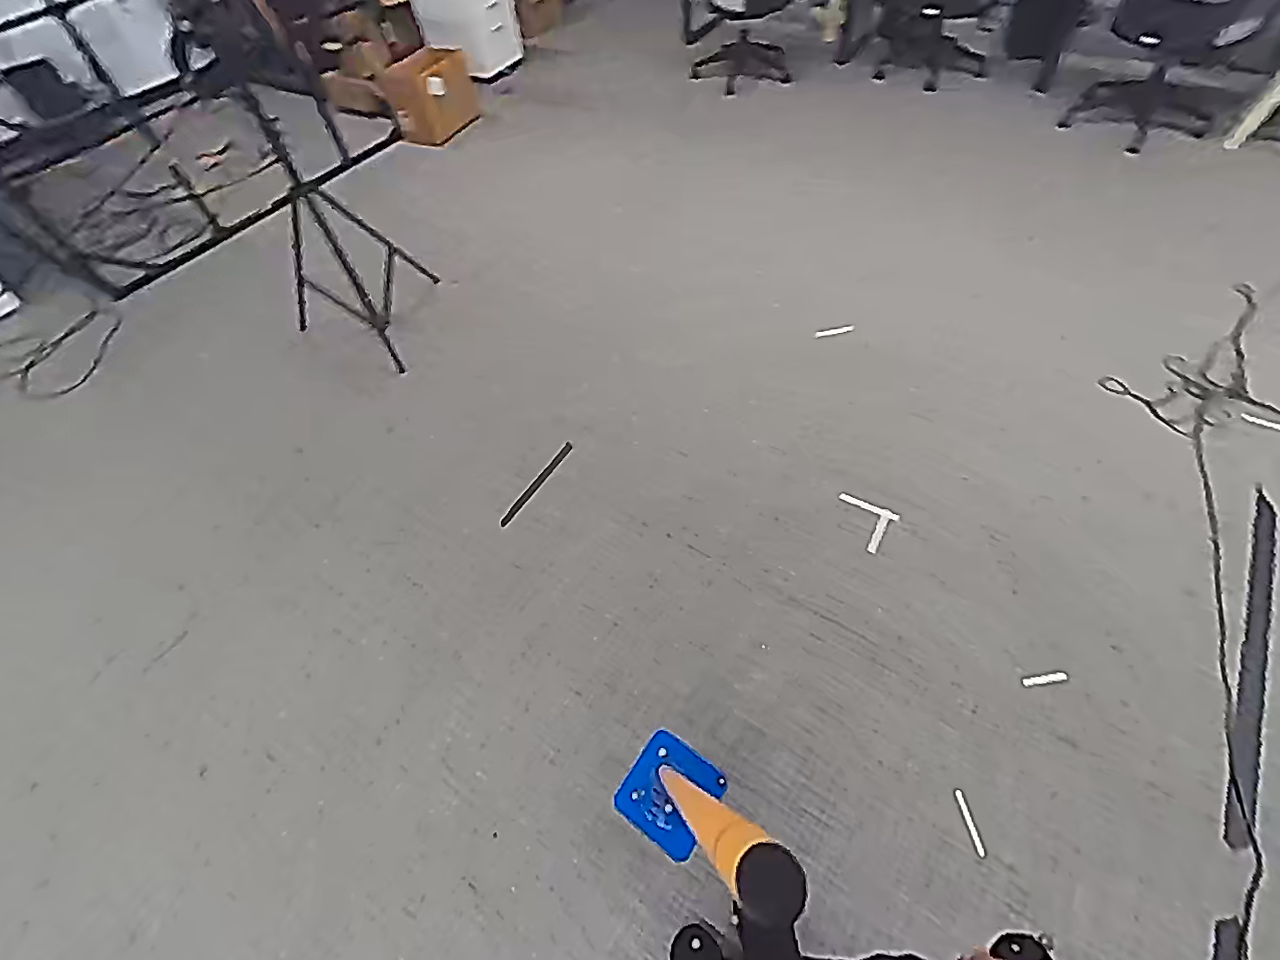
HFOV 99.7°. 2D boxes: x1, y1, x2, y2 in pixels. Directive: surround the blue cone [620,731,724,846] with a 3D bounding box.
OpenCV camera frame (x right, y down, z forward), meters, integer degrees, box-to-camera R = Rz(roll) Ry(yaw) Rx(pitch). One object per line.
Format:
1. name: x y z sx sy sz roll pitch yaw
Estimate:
1. blue cone: 0.059 0.599 1.091 0.193 0.380 0.192 30 62 23
